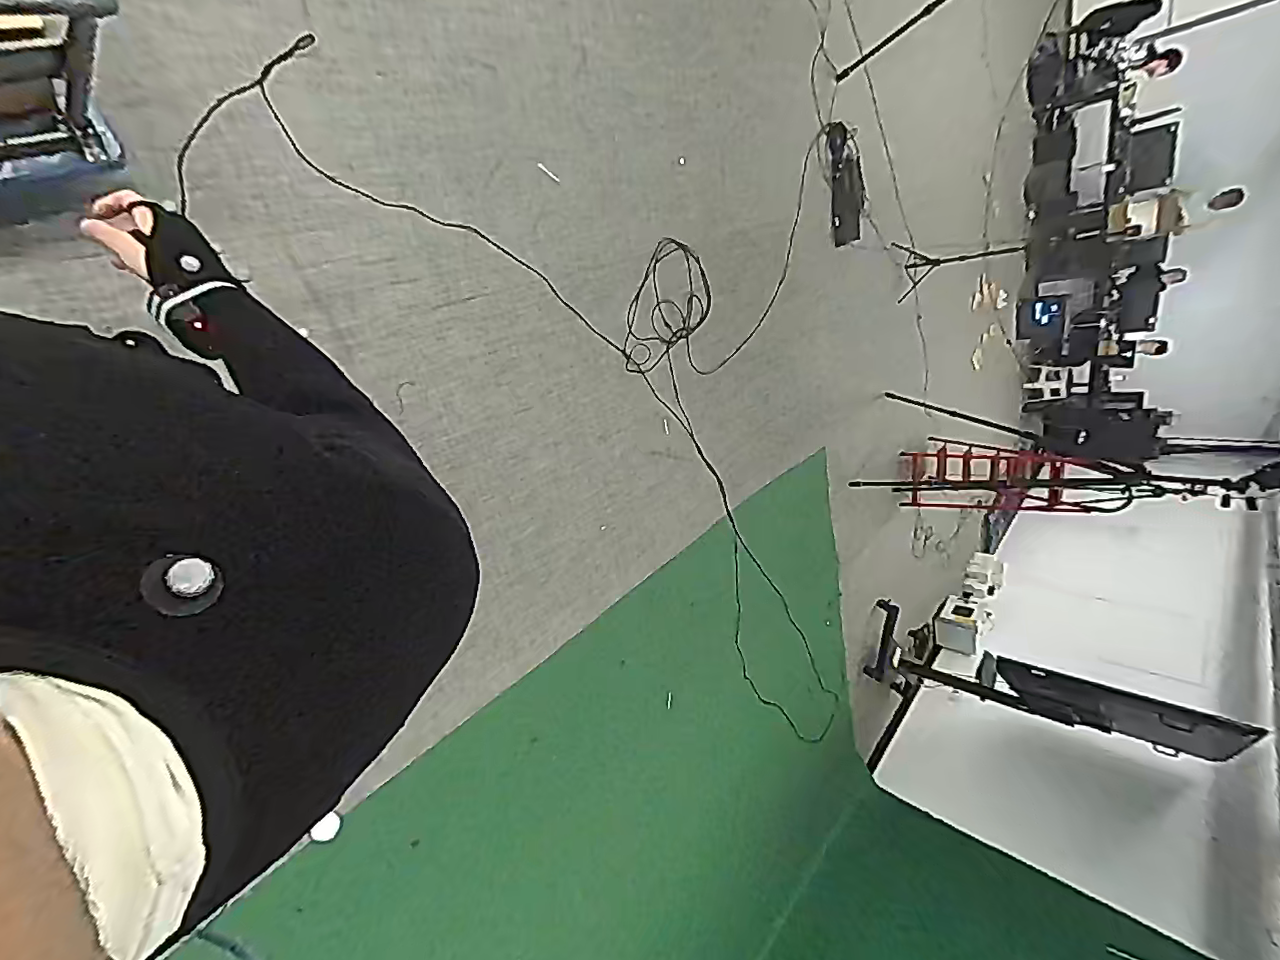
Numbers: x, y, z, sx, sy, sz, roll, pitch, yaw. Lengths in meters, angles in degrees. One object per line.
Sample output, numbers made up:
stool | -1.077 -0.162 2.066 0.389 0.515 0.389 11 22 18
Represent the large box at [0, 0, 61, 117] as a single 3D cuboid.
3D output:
large box | -1.105 -0.738 0.705 0.320 0.320 0.408 -40 122 -34
